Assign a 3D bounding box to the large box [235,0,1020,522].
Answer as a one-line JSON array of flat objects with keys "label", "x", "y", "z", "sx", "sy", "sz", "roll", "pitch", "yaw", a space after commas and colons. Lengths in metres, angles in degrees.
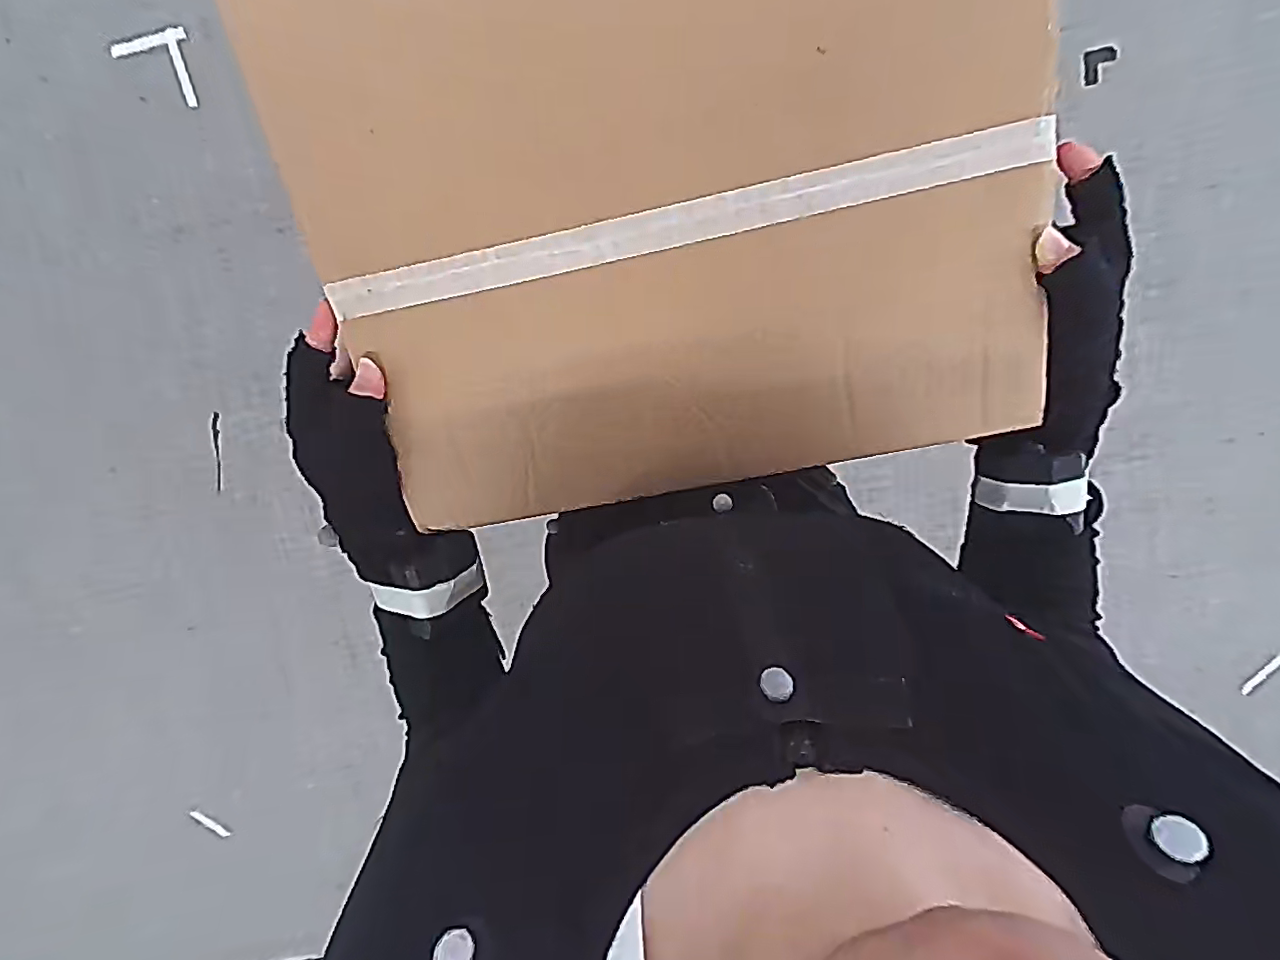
[{"label": "large box", "x": 0.015, "y": -0.199, "z": 0.452, "sx": 0.408, "sy": 0.320, "sz": 0.320, "roll": -10, "pitch": 109, "yaw": 5}]
